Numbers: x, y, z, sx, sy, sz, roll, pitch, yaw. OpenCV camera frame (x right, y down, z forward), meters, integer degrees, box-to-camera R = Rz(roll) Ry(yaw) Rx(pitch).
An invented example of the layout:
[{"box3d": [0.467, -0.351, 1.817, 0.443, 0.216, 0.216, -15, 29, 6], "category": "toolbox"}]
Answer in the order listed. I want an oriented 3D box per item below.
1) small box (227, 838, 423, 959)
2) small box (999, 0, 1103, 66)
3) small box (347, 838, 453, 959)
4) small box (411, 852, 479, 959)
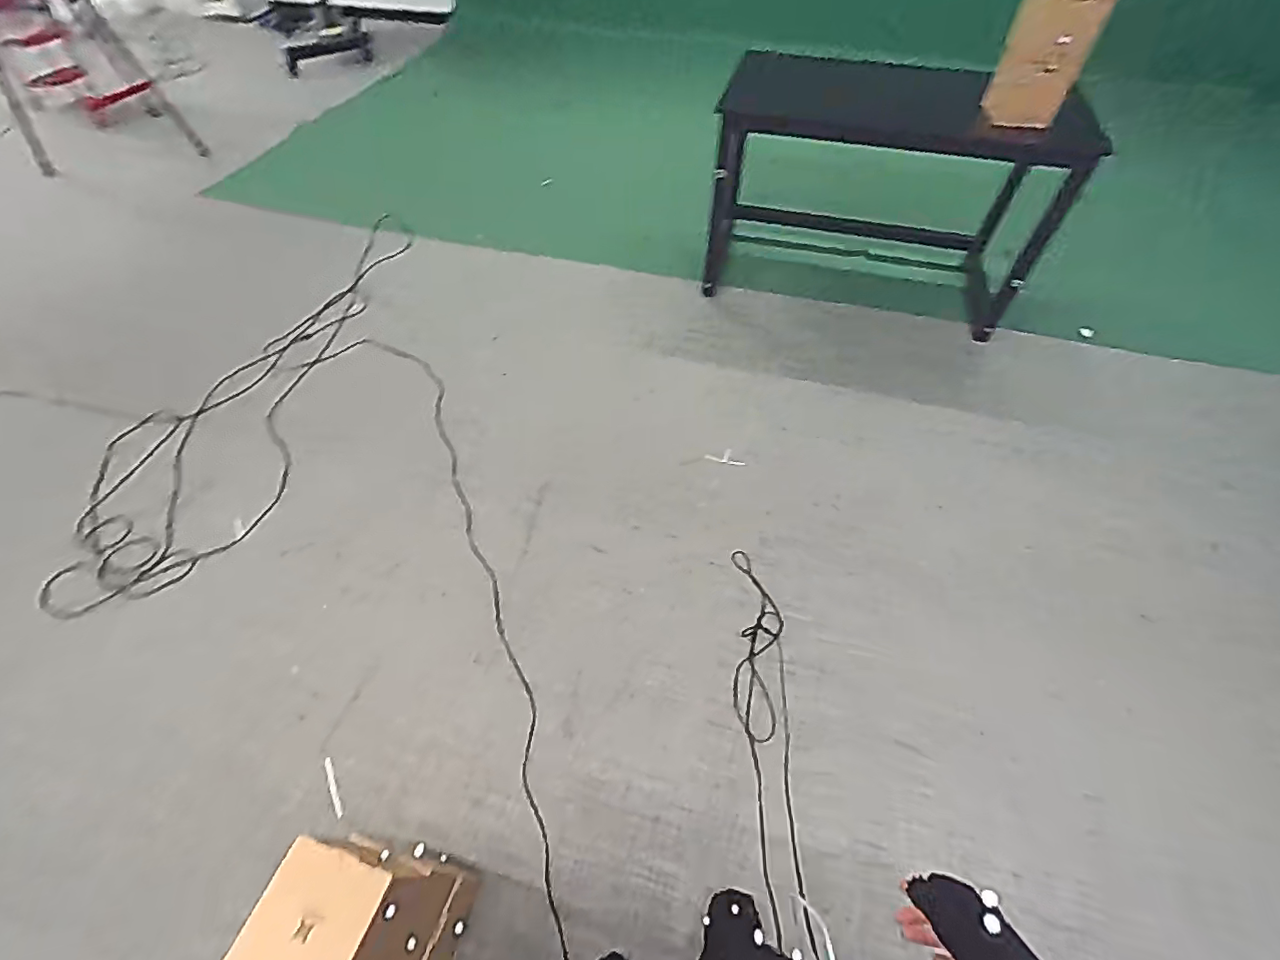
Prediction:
[{"box3d": [-0.454, 0.665, 0.802, 0.168, 0.176, 0.179, 14, 54, 11], "category": "small box"}, {"box3d": [1.183, -1.334, 1.568, 0.168, 0.176, 0.179, 6, 53, 5], "category": "small box"}, {"box3d": [-0.451, 0.755, 0.938, 0.168, 0.176, 0.179, 14, 54, 11], "category": "small box"}, {"box3d": [-0.444, 0.855, 1.069, 0.179, 0.176, 0.168, 14, 54, 10], "category": "small box"}]
